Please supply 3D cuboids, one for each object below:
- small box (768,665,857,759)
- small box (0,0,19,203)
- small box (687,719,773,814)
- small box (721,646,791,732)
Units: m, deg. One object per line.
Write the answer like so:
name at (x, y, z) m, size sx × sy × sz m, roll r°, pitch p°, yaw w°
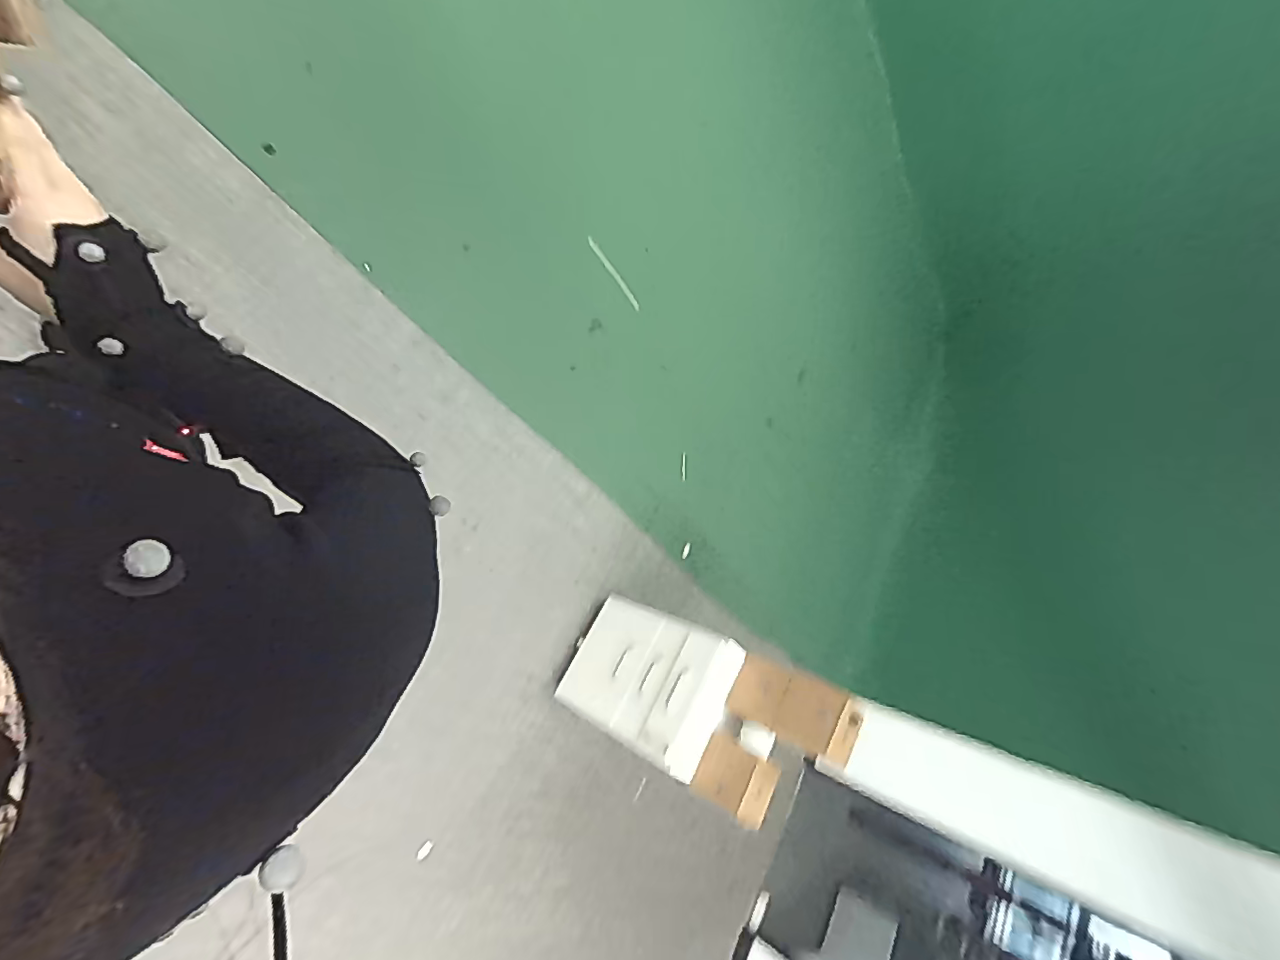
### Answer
small box at (0.498, 0.667, 1.570) m, size 0.168 × 0.176 × 0.179 m, roll 48°, pitch 66°, yaw -38°
small box at (-0.416, -0.239, 0.241) m, size 0.179 × 0.176 × 0.168 m, roll -6°, pitch 105°, yaw -49°
small box at (0.263, 0.845, 1.601) m, size 0.168 × 0.176 × 0.179 m, roll 48°, pitch 61°, yaw -39°
small box at (0.381, 0.645, 1.684) m, size 0.168 × 0.176 × 0.179 m, roll 48°, pitch 64°, yaw -38°
